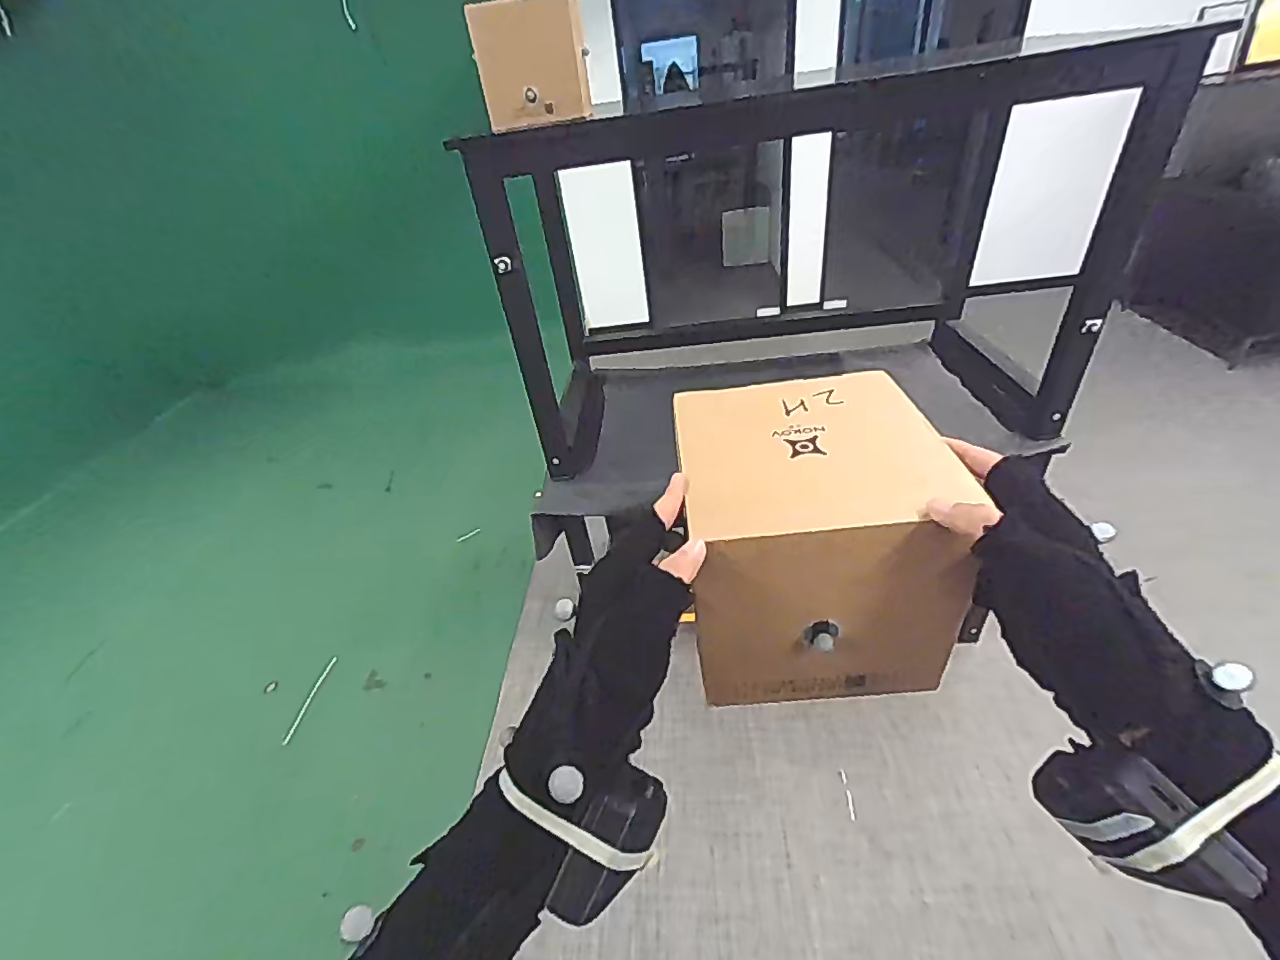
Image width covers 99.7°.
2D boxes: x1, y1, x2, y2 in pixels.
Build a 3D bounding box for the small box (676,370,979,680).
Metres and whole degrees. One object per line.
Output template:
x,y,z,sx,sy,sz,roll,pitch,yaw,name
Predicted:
0.119,0.036,0.416,0.168,0.176,0.179,-5,36,4,small box
